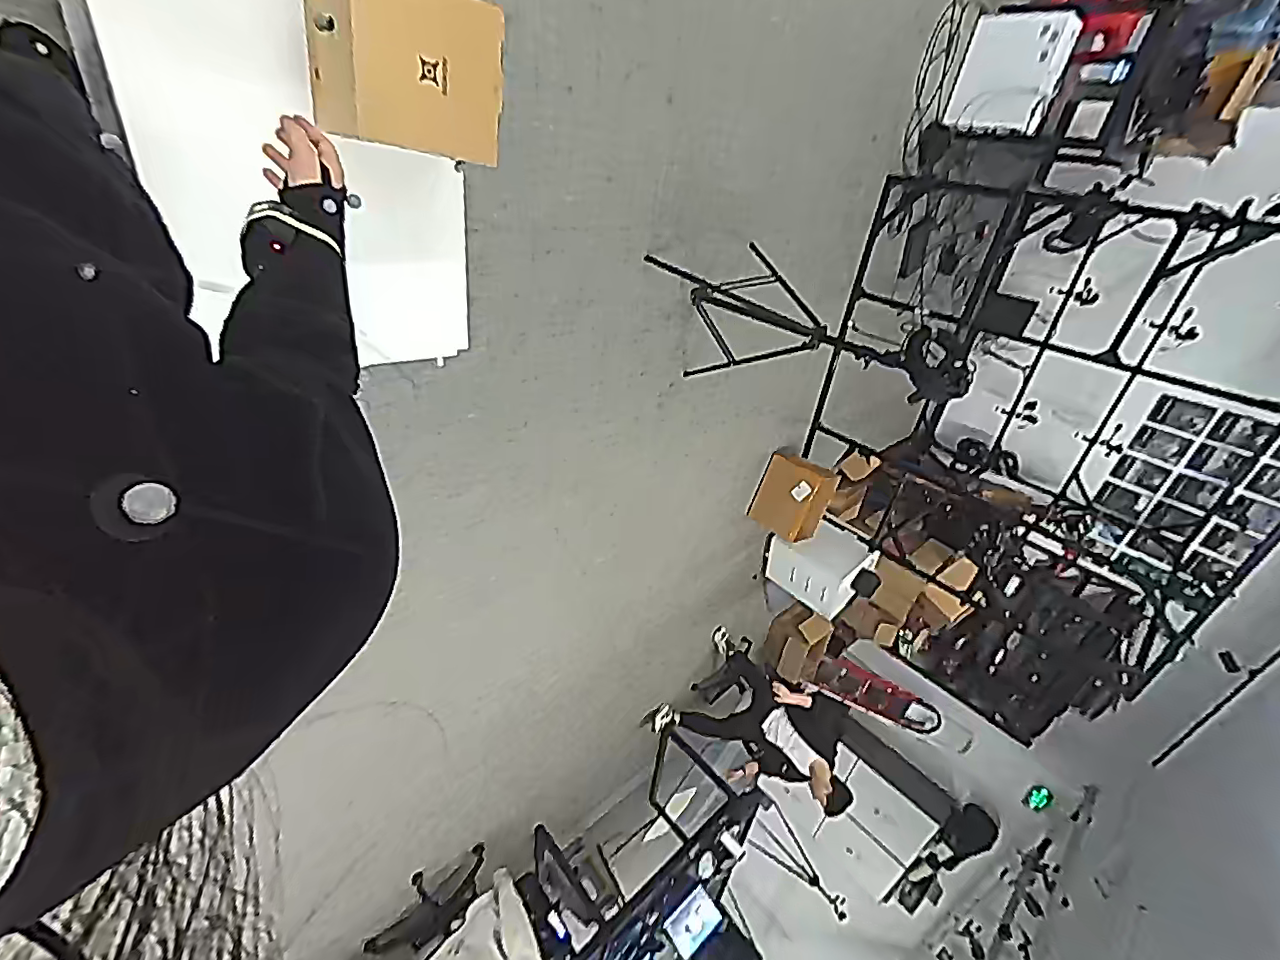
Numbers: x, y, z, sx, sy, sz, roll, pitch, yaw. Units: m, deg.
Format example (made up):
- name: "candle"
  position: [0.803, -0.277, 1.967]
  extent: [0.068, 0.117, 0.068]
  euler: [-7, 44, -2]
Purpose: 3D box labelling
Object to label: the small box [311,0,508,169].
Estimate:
- name: "small box"
  position: [-0.287, -0.499, 0.668]
  extent: [0.179, 0.176, 0.168]
  euler: [-16, 128, -42]
